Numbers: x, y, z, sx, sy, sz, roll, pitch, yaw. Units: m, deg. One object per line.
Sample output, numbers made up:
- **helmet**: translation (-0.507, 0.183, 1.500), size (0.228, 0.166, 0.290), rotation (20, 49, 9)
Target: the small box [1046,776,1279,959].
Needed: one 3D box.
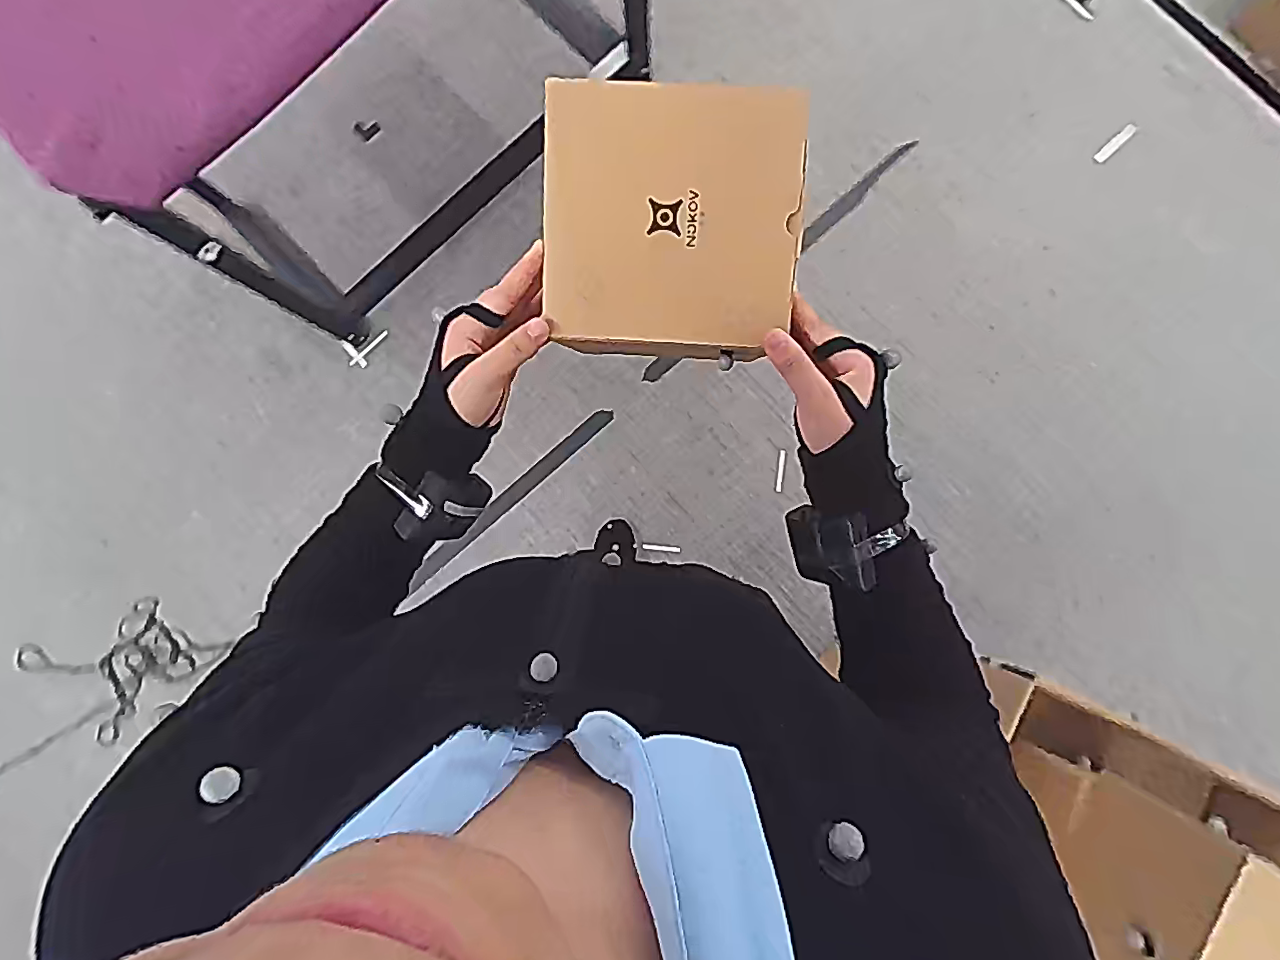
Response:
- **small box**: translation (0.576, 0.457, 0.560), size (0.168, 0.176, 0.179), rotation (31, 86, 4)

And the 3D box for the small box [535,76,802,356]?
- **small box**: translation (0.019, -0.193, 0.444), size (0.179, 0.176, 0.168), rotation (2, 99, 1)
